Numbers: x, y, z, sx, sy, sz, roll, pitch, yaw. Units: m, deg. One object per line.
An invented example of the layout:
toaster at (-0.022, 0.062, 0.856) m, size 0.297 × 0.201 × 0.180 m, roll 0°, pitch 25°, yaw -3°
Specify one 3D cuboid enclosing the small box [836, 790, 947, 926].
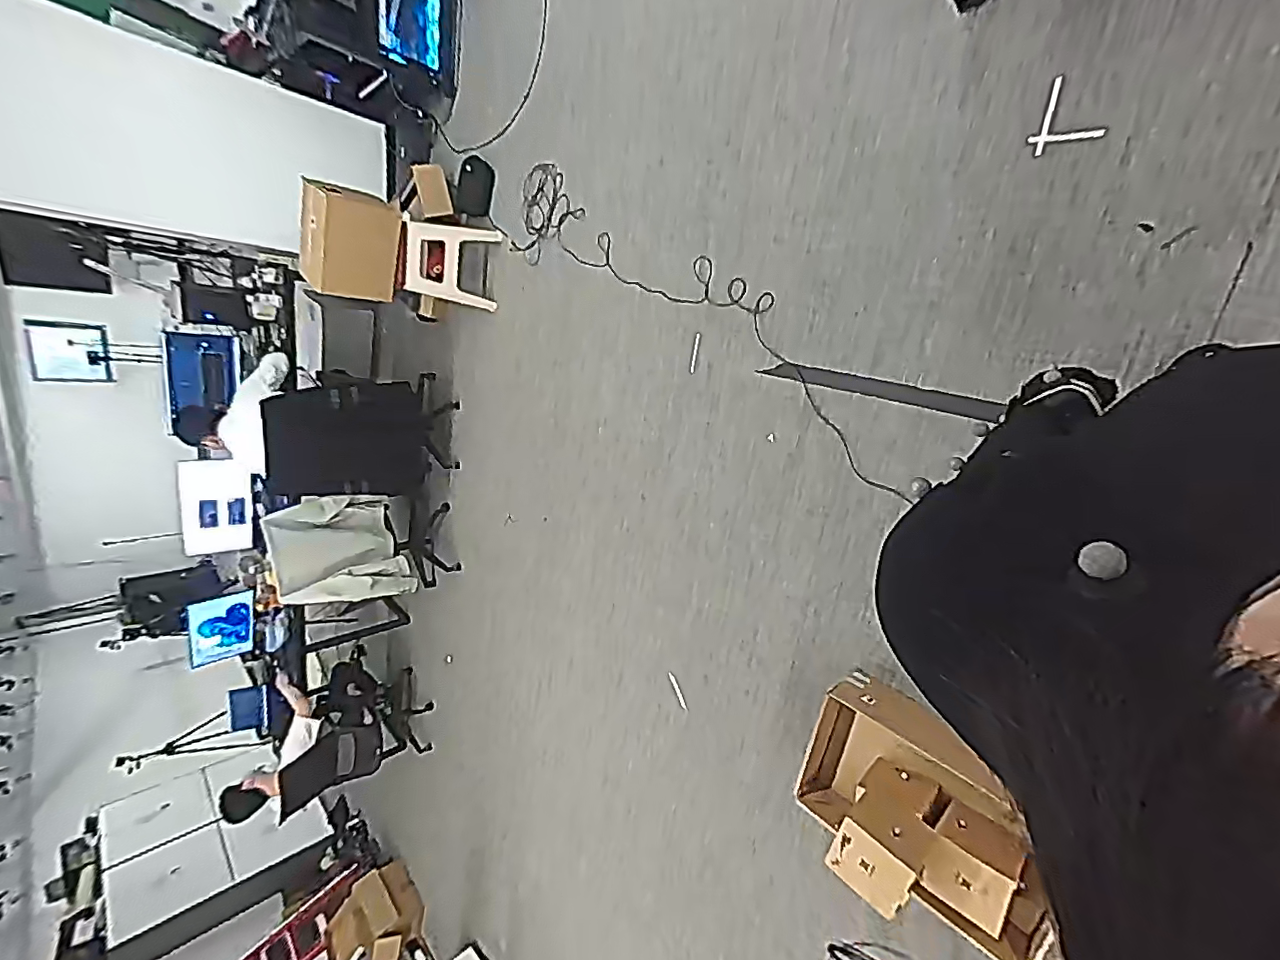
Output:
small box at (0.615, 0.906, 1.316) m, size 0.179 × 0.176 × 0.168 m, roll 28°, pitch 113°, yaw 38°
